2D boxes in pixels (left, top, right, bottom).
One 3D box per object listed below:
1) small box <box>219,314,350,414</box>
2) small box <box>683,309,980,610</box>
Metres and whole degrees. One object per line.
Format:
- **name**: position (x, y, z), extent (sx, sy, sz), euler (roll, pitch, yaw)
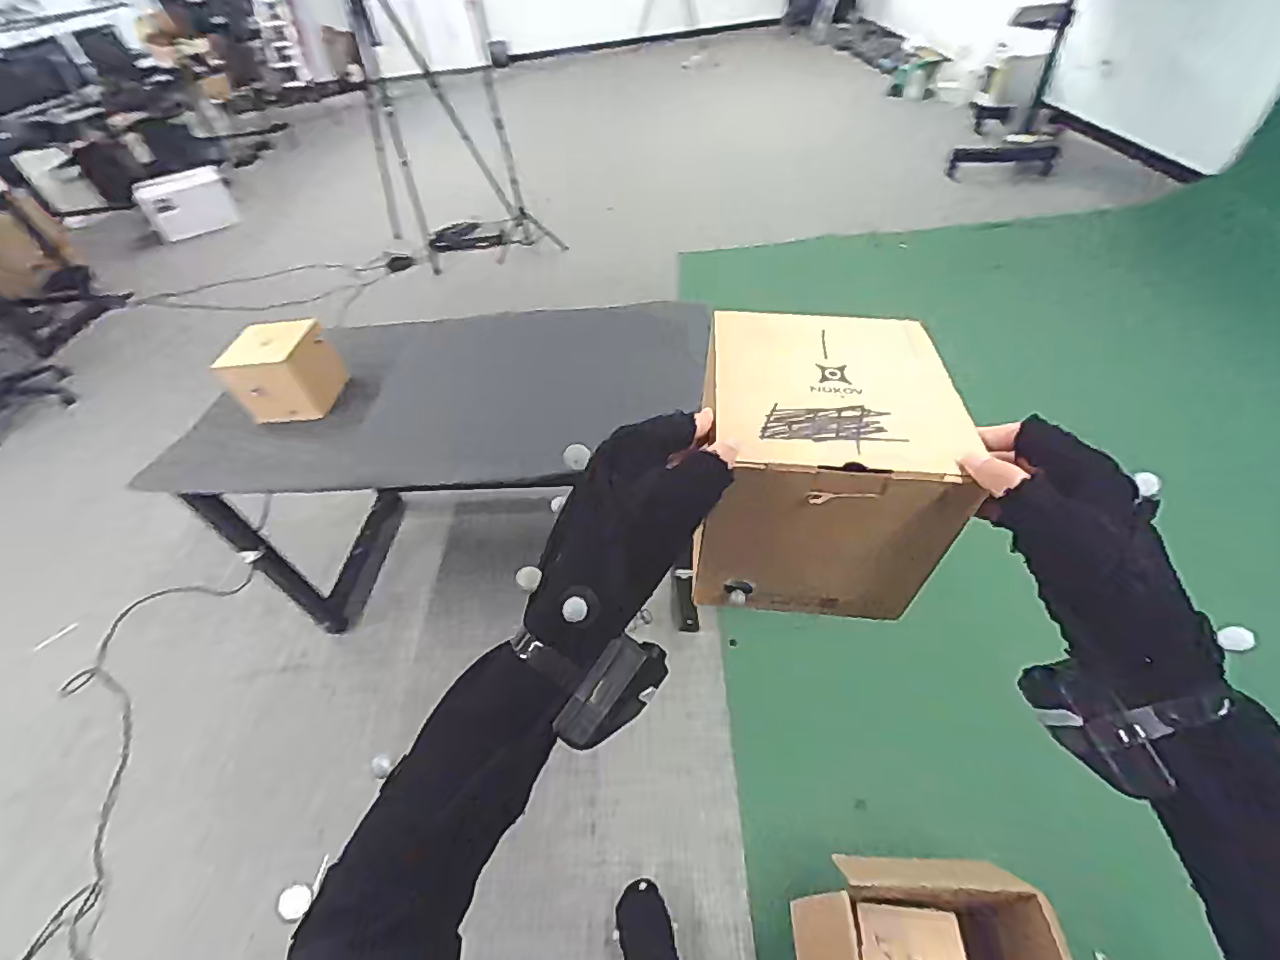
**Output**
- **small box**: position (-0.825, -0.268, 1.280), extent (0.168, 0.176, 0.179), euler (-4, 46, 5)
- **small box**: position (0.123, -0.014, 0.429), extent (0.168, 0.176, 0.179), euler (3, 47, 3)
